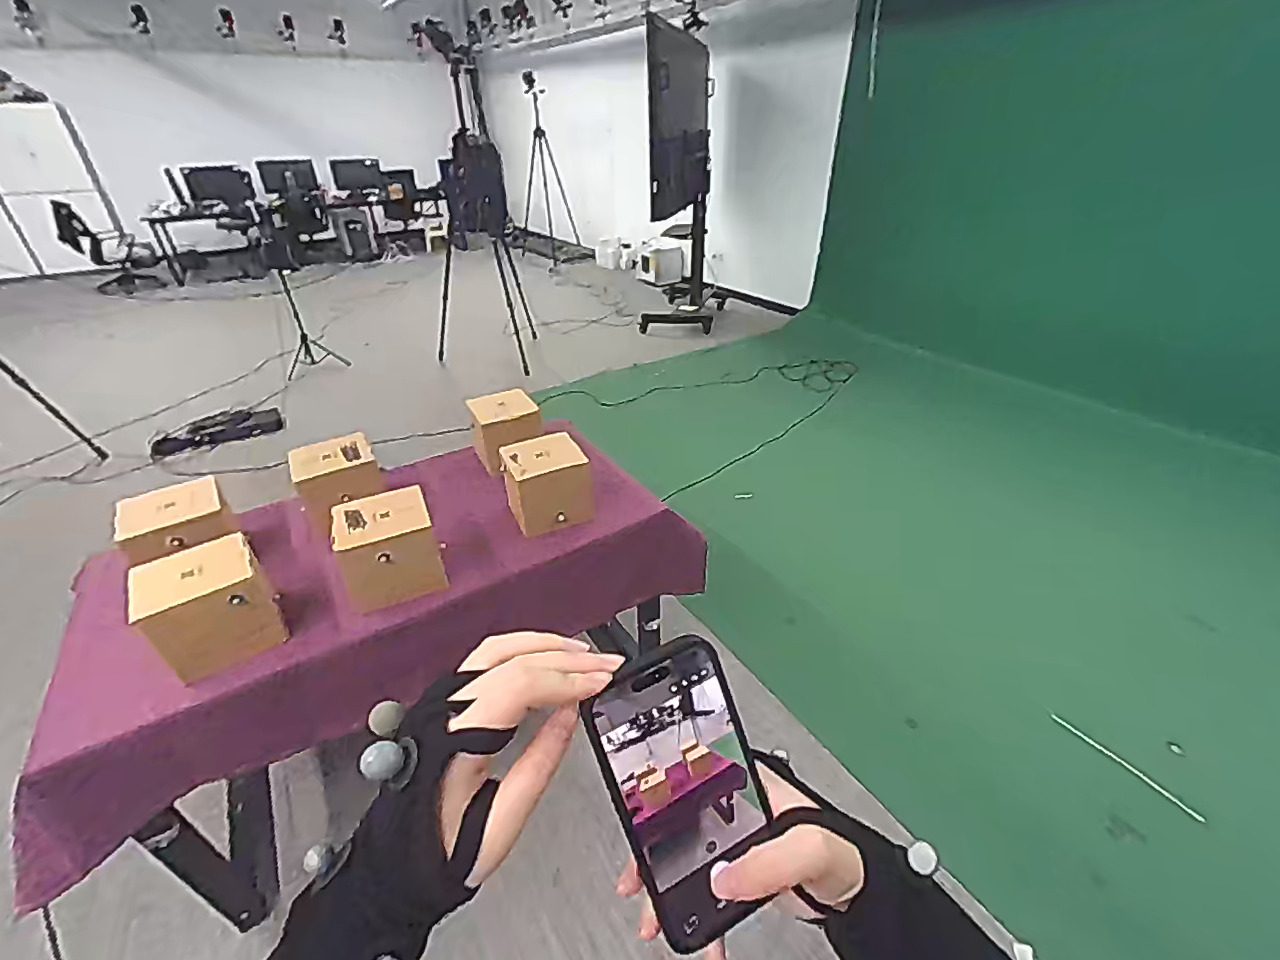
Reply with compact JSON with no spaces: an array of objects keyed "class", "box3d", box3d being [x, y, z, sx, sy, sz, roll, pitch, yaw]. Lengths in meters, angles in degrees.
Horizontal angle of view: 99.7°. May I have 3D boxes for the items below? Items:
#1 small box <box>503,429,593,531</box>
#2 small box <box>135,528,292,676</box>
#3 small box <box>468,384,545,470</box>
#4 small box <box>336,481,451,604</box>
[{"class":"small box","box3d":[-0.221,-0.001,1.316,0.179,0.176,0.168,-16,36,-21]},{"class":"small box","box3d":[-0.783,0.224,1.000,0.179,0.176,0.168,-24,39,-32]},{"class":"small box","box3d":[-0.377,-0.151,1.543,0.168,0.176,0.179,-19,38,-23]},{"class":"small box","box3d":[-0.512,0.131,1.129,0.179,0.176,0.168,-16,37,-22]}]
